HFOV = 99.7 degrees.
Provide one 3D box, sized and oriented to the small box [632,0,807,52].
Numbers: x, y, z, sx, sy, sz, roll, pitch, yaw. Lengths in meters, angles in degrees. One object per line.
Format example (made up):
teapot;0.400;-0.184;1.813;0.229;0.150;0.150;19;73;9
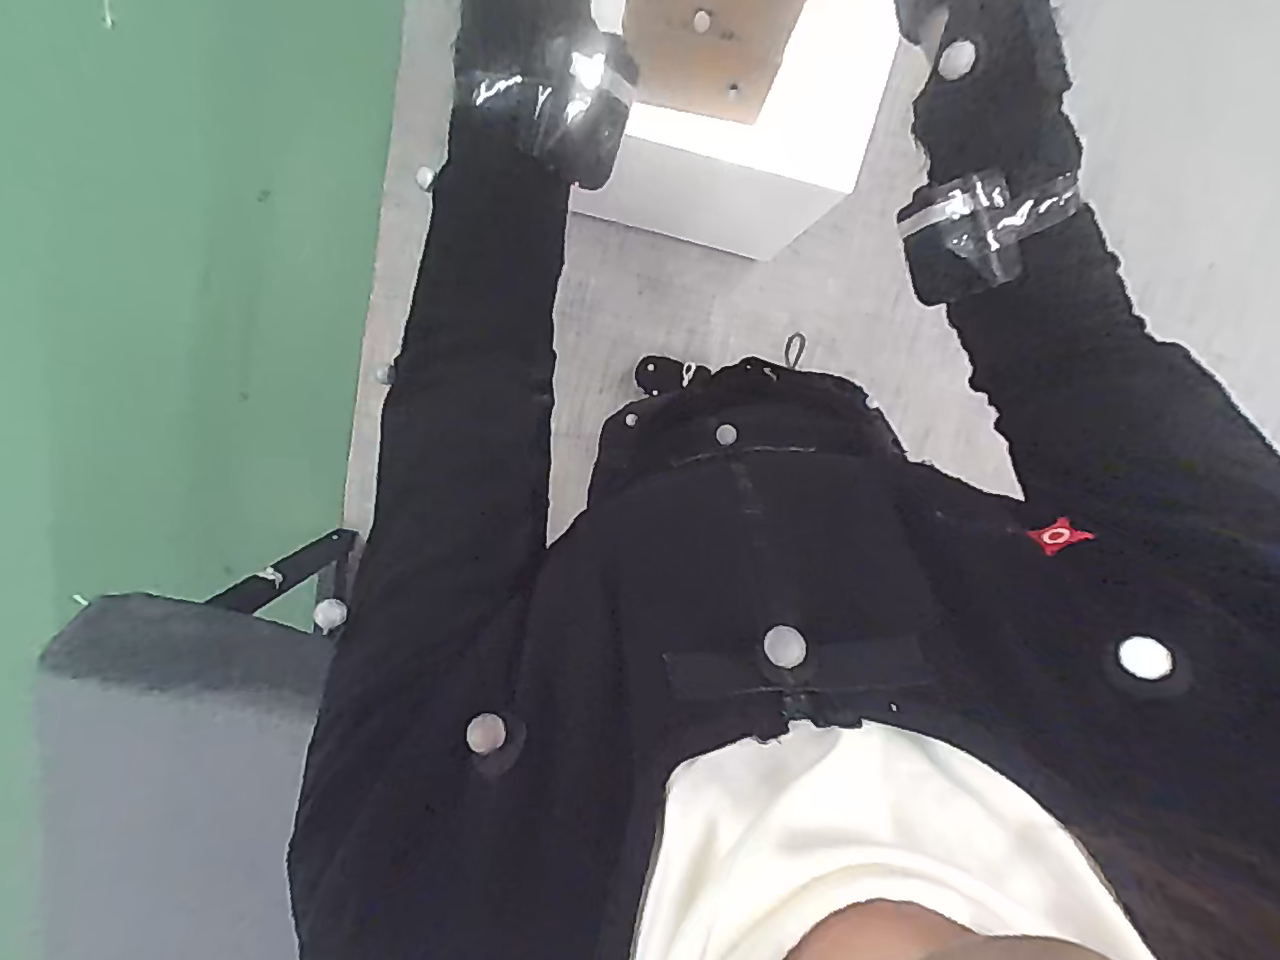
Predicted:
small box;0.081;-0.516;0.454;0.168;0.176;0.179;9;101;-1

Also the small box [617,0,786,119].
small box;0.080;-0.545;0.616;0.179;0.176;0.168;11;102;1
